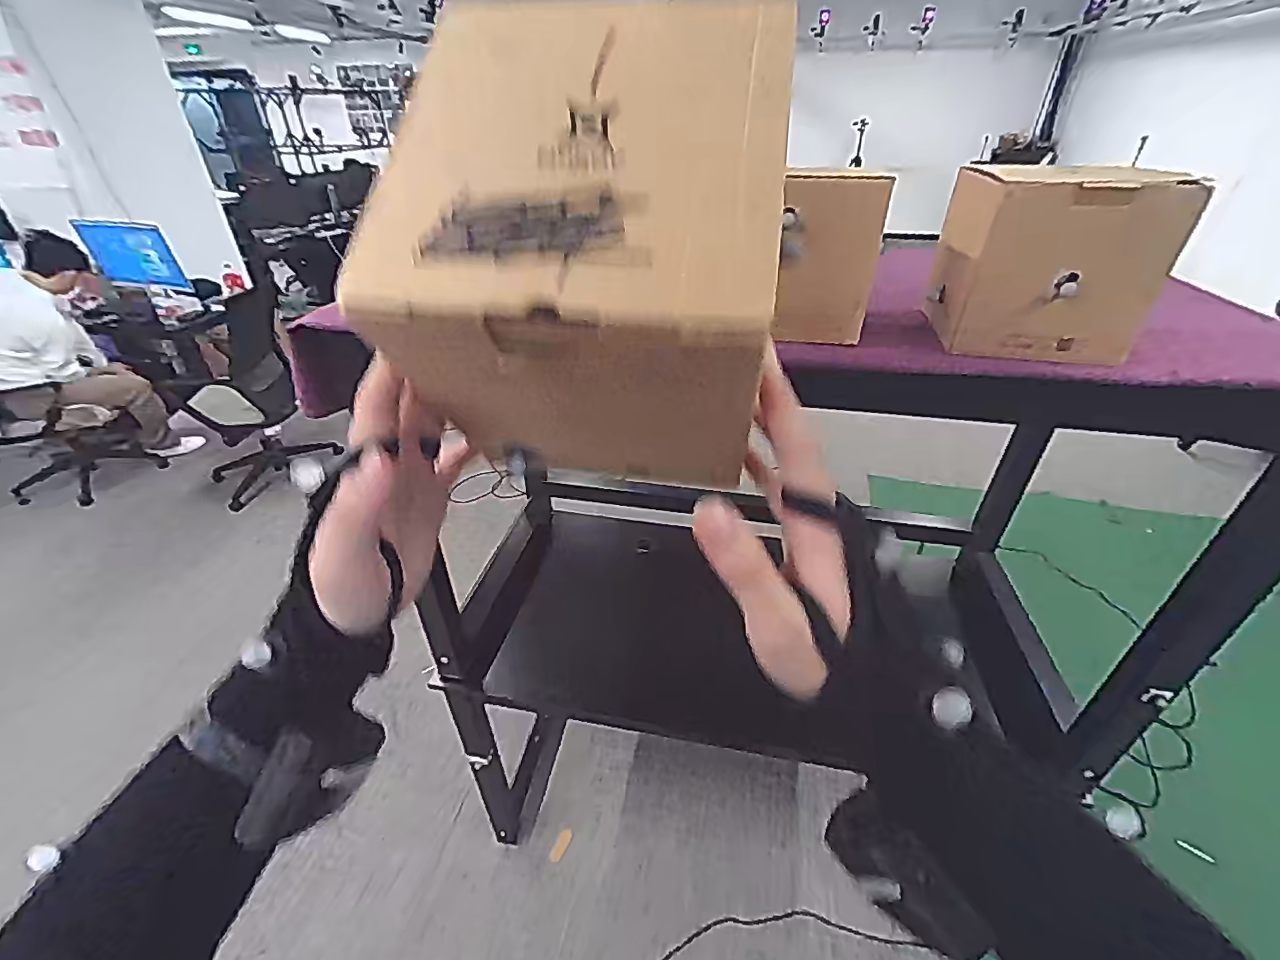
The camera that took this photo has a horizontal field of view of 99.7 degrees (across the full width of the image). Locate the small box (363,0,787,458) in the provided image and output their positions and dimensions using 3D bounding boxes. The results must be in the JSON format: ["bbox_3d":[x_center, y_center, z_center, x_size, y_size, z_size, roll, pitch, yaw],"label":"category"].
[{"bbox_3d":[-0.015,-0.125,0.312,0.168,0.176,0.179,6,70,8],"label":"small box"}]

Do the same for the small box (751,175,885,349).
[{"bbox_3d":[0.172,-0.263,0.649,0.179,0.176,0.168,5,32,10],"label":"small box"}]
